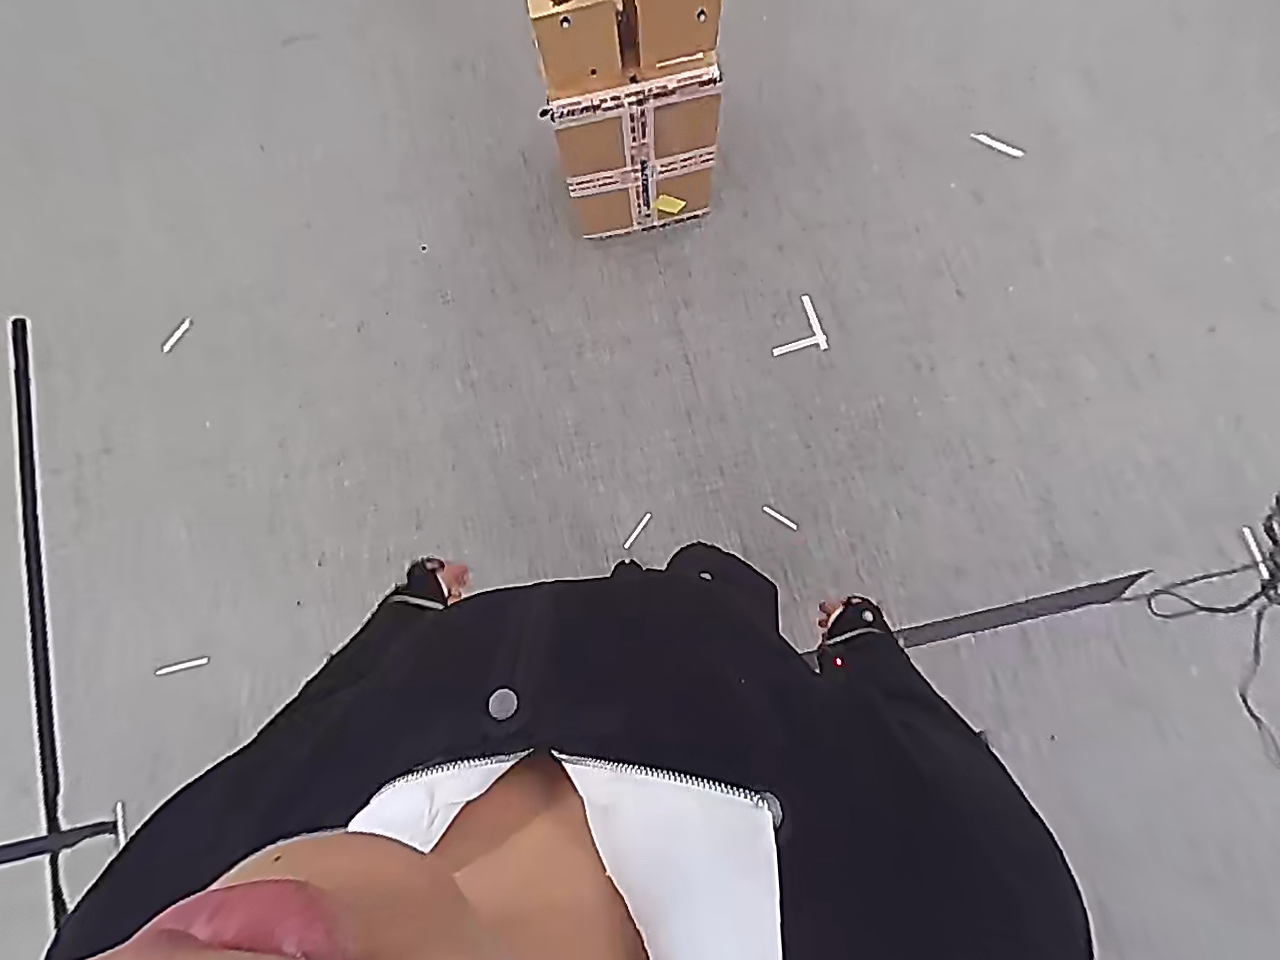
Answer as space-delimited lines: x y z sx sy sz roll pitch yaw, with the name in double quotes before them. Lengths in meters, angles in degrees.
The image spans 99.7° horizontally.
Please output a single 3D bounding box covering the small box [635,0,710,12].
"small box" 0.055 -1.005 0.970 0.168 0.176 0.179 -13 83 -1
